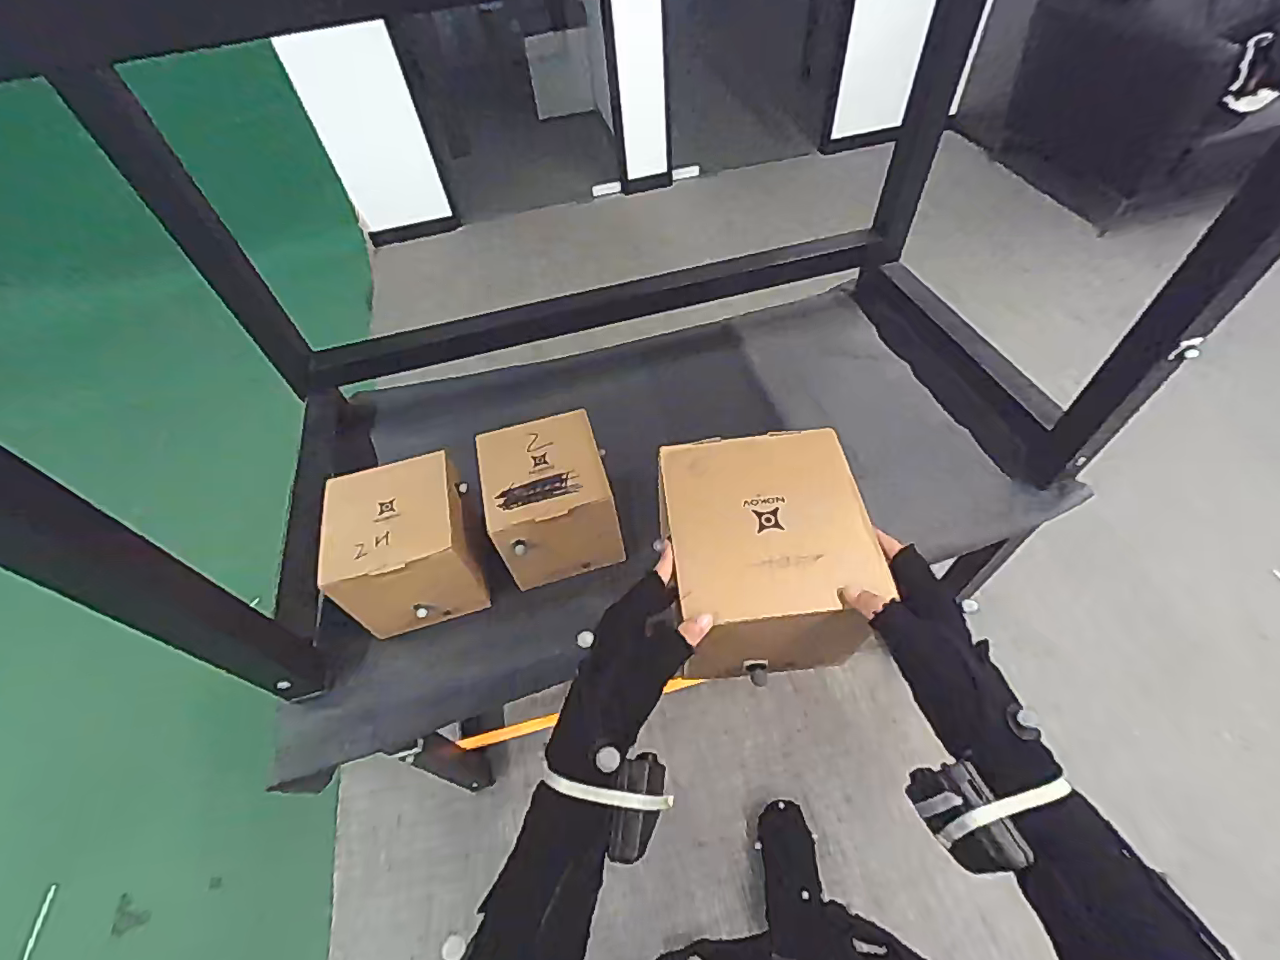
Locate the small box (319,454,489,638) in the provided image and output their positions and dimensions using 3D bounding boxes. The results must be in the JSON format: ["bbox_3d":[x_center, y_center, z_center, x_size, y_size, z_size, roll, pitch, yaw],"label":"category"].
[{"bbox_3d":[-0.324,0.096,0.770,0.168,0.176,0.179,-15,52,-7],"label":"small box"}]
